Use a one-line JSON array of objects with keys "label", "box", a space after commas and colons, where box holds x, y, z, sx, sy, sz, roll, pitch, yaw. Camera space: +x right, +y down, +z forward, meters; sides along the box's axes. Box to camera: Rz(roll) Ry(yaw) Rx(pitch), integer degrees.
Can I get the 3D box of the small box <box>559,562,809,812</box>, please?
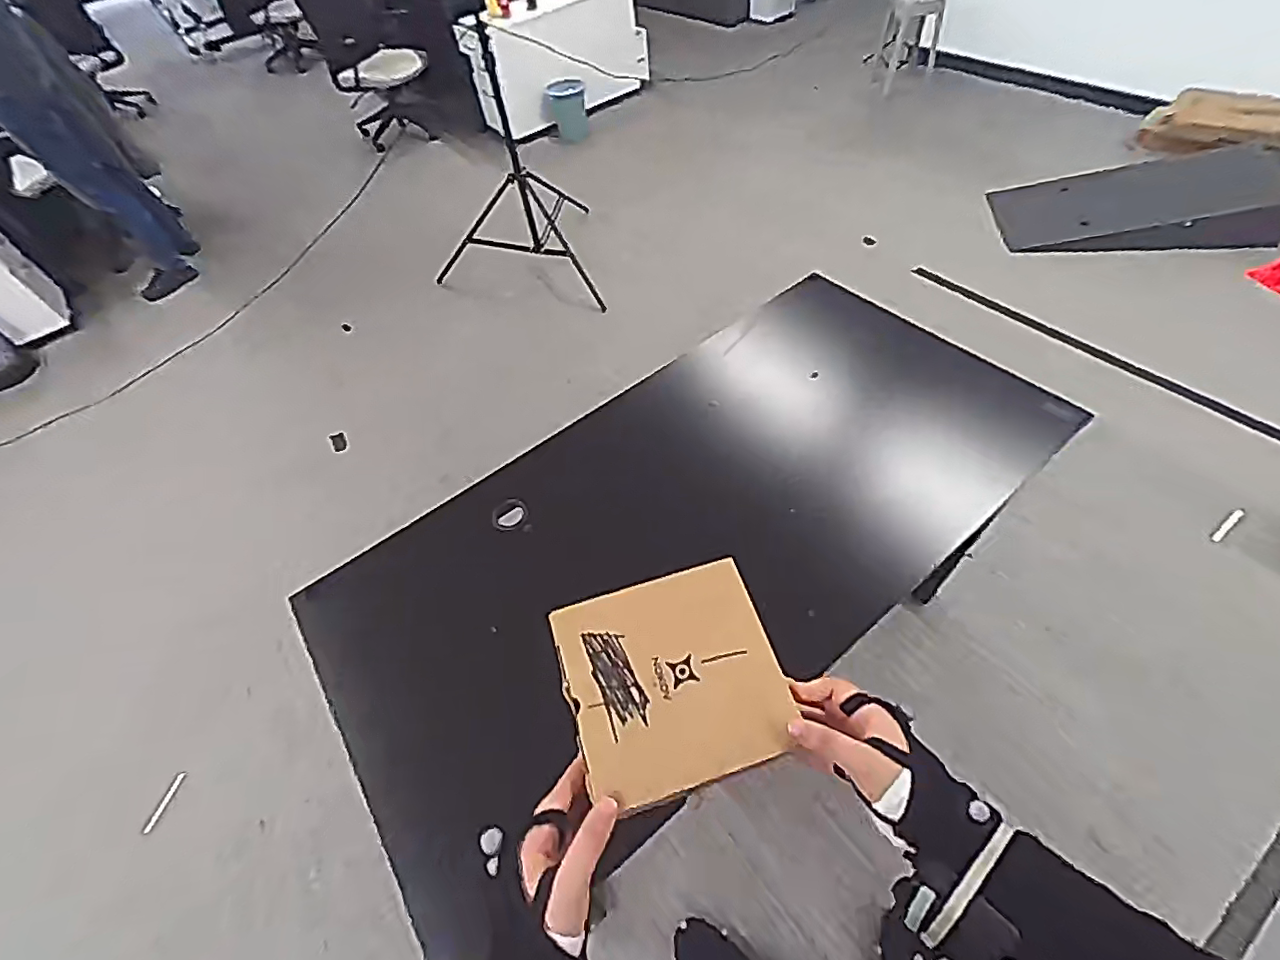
[{"label": "small box", "box": [0.033, 0.206, 0.523, 0.179, 0.176, 0.168, -14, 59, -8]}]
